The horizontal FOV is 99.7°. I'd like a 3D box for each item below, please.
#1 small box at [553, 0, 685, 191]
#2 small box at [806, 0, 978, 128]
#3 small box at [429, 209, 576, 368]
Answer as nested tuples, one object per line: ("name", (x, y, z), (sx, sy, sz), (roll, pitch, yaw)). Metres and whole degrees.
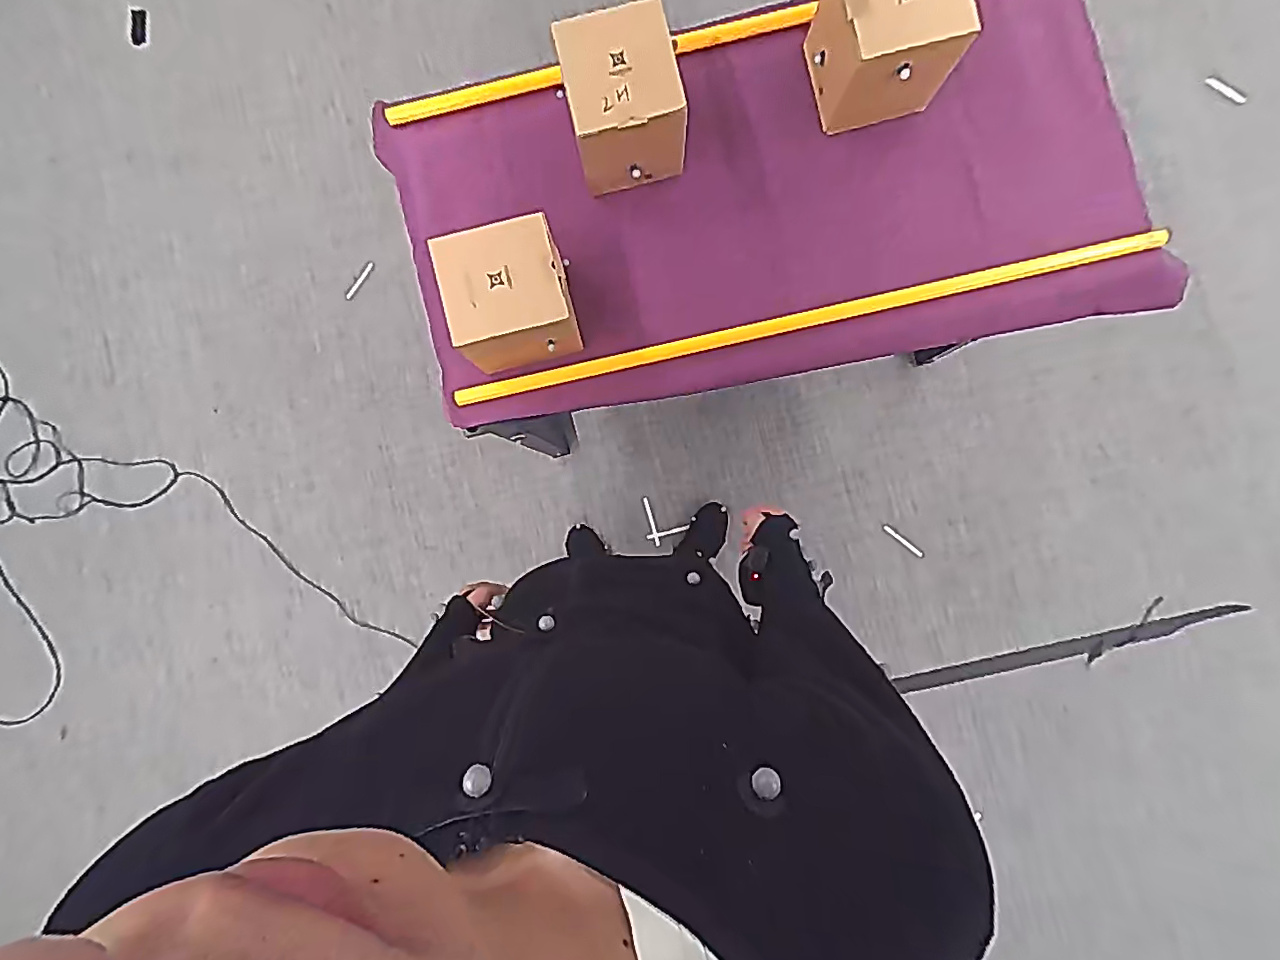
("small box", (-0.030, -0.603, 0.861), (0.168, 0.176, 0.179), (-13, 89, 2))
("small box", (0.382, -0.699, 0.850), (0.179, 0.176, 0.168), (-13, 89, 2))
("small box", (-0.203, -0.290, 0.855), (0.179, 0.176, 0.168), (-14, 87, -1))
